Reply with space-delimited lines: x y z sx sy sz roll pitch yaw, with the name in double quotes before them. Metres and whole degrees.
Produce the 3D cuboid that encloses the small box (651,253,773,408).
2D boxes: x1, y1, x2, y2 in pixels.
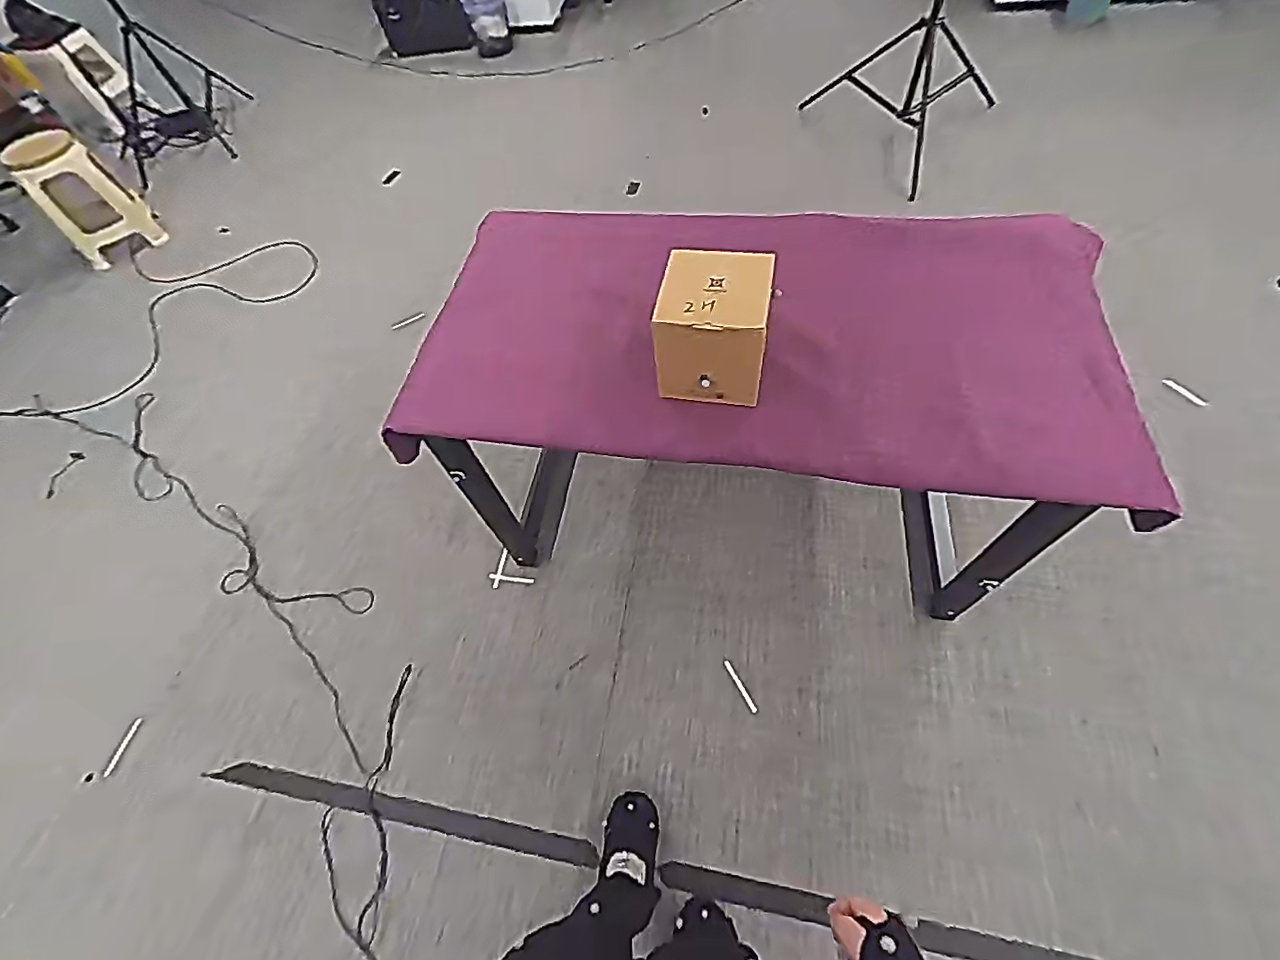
"small box" 0.119 -0.245 0.890 0.168 0.176 0.179 7 59 11
